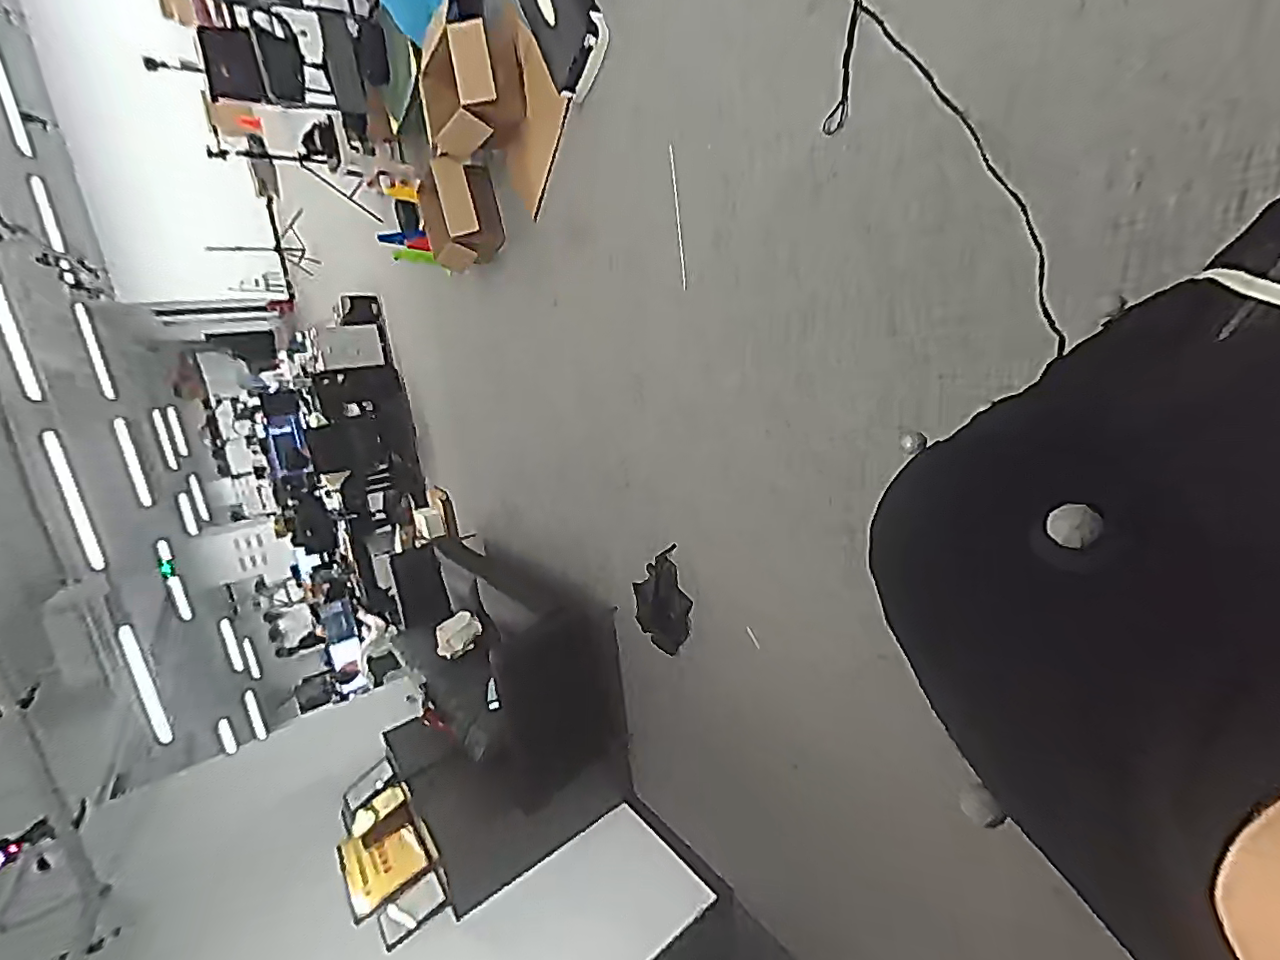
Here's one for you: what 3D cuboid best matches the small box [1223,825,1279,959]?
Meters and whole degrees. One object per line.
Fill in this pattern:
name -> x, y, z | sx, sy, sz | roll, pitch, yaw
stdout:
small box -> 0.785, 0.532, 0.589 | 0.179, 0.176, 0.168 | 18, 118, 52
